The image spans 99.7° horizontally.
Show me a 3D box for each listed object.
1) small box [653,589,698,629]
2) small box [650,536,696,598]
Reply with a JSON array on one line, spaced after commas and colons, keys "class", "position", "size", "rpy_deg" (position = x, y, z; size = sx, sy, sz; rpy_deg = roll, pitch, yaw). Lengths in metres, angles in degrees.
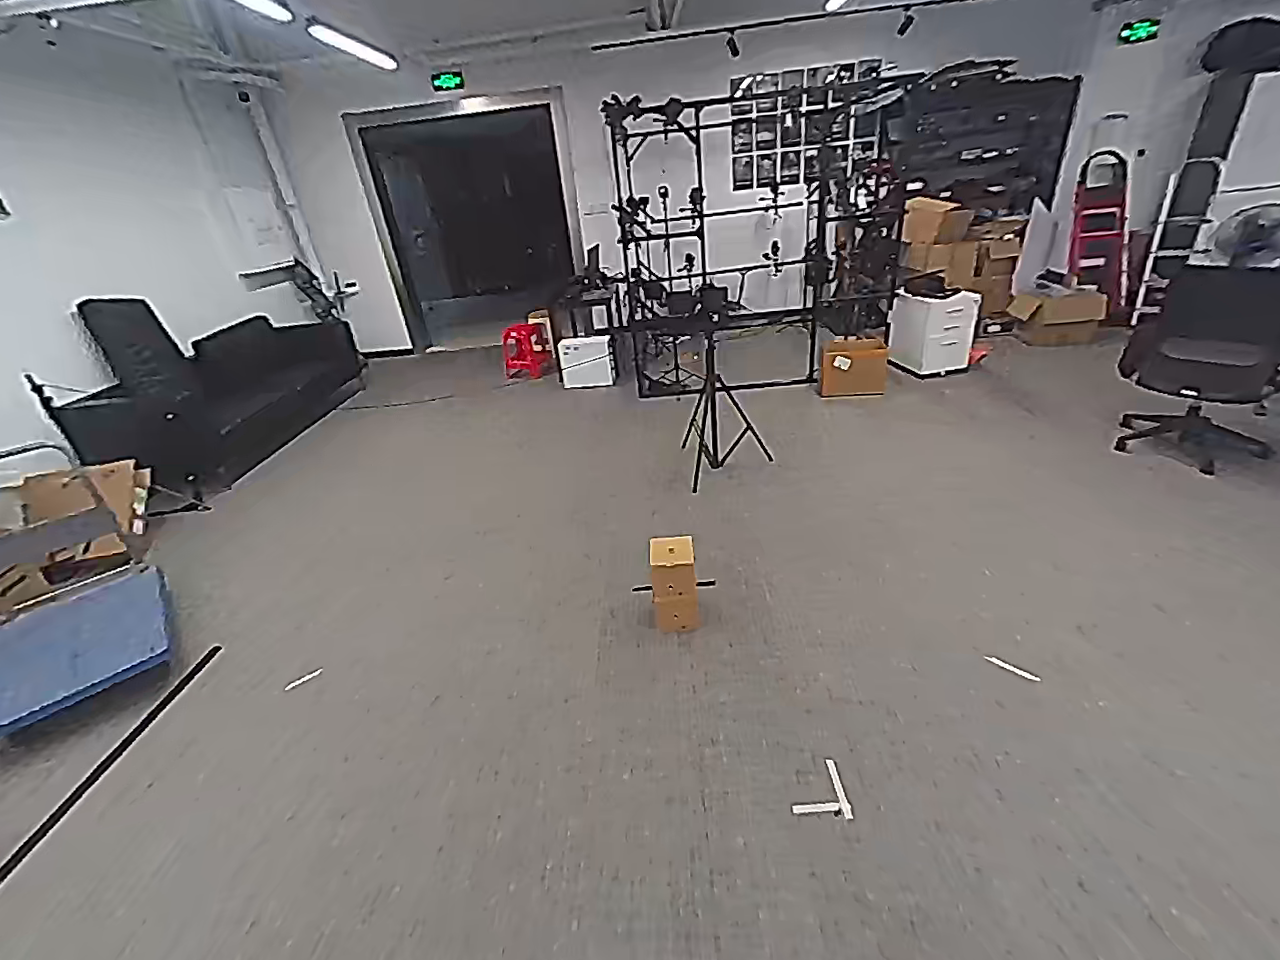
[{"class": "small box", "position": [0.142, 0.487, 2.179], "size": [0.168, 0.176, 0.179], "rpy_deg": [-6, 28, 2]}, {"class": "small box", "position": [0.128, 0.340, 2.110], "size": [0.168, 0.176, 0.179], "rpy_deg": [-5, 29, 4]}]
